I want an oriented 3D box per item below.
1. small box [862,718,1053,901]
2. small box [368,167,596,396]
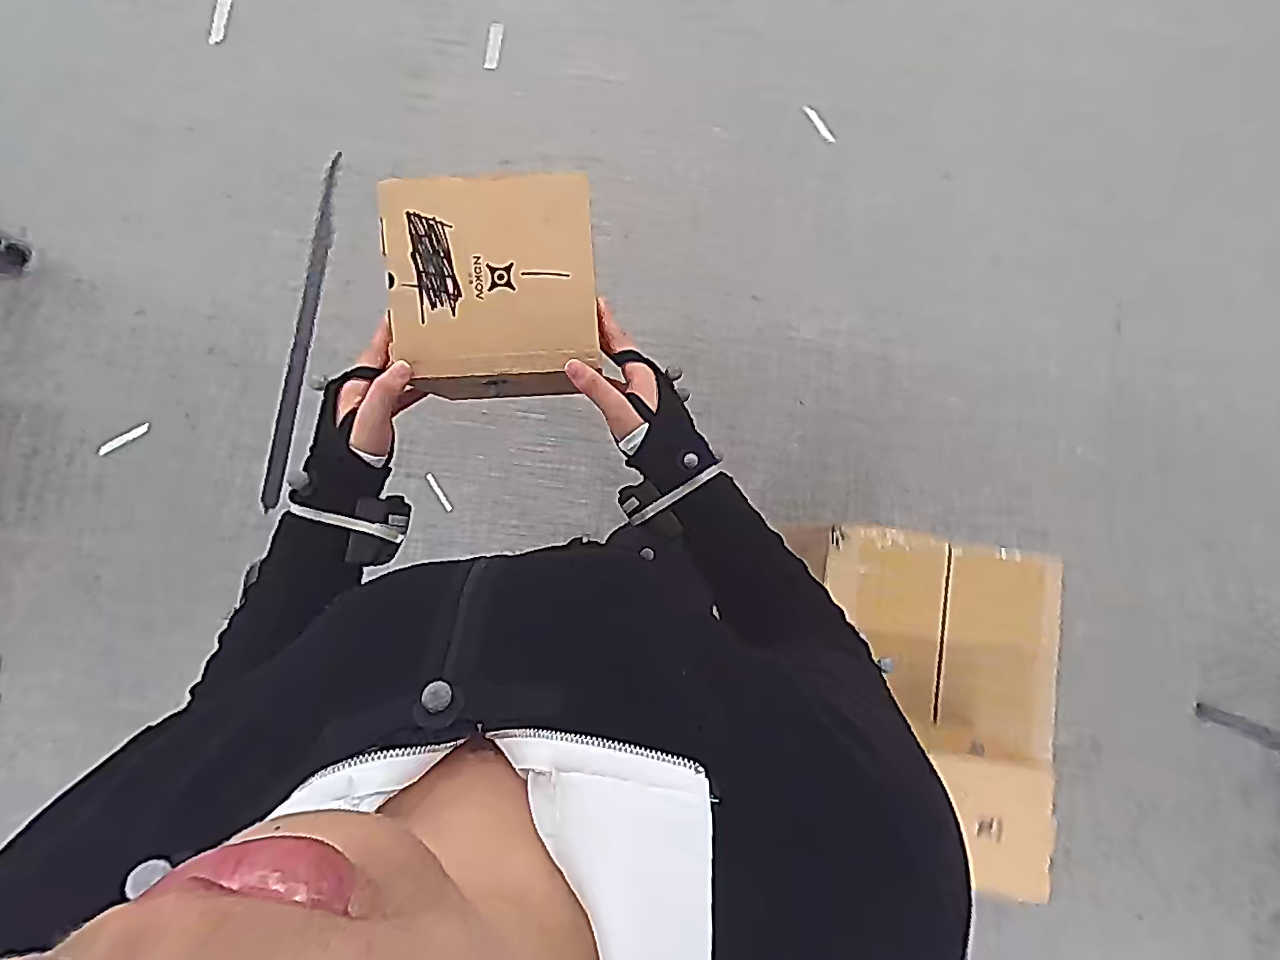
[{"bbox_3d":[0.452,0.464,0.790,0.179,0.176,0.168,9,82,1],"label":"small box"},{"bbox_3d":[-0.138,-0.179,0.535,0.179,0.176,0.168,-5,93,-4],"label":"small box"}]
